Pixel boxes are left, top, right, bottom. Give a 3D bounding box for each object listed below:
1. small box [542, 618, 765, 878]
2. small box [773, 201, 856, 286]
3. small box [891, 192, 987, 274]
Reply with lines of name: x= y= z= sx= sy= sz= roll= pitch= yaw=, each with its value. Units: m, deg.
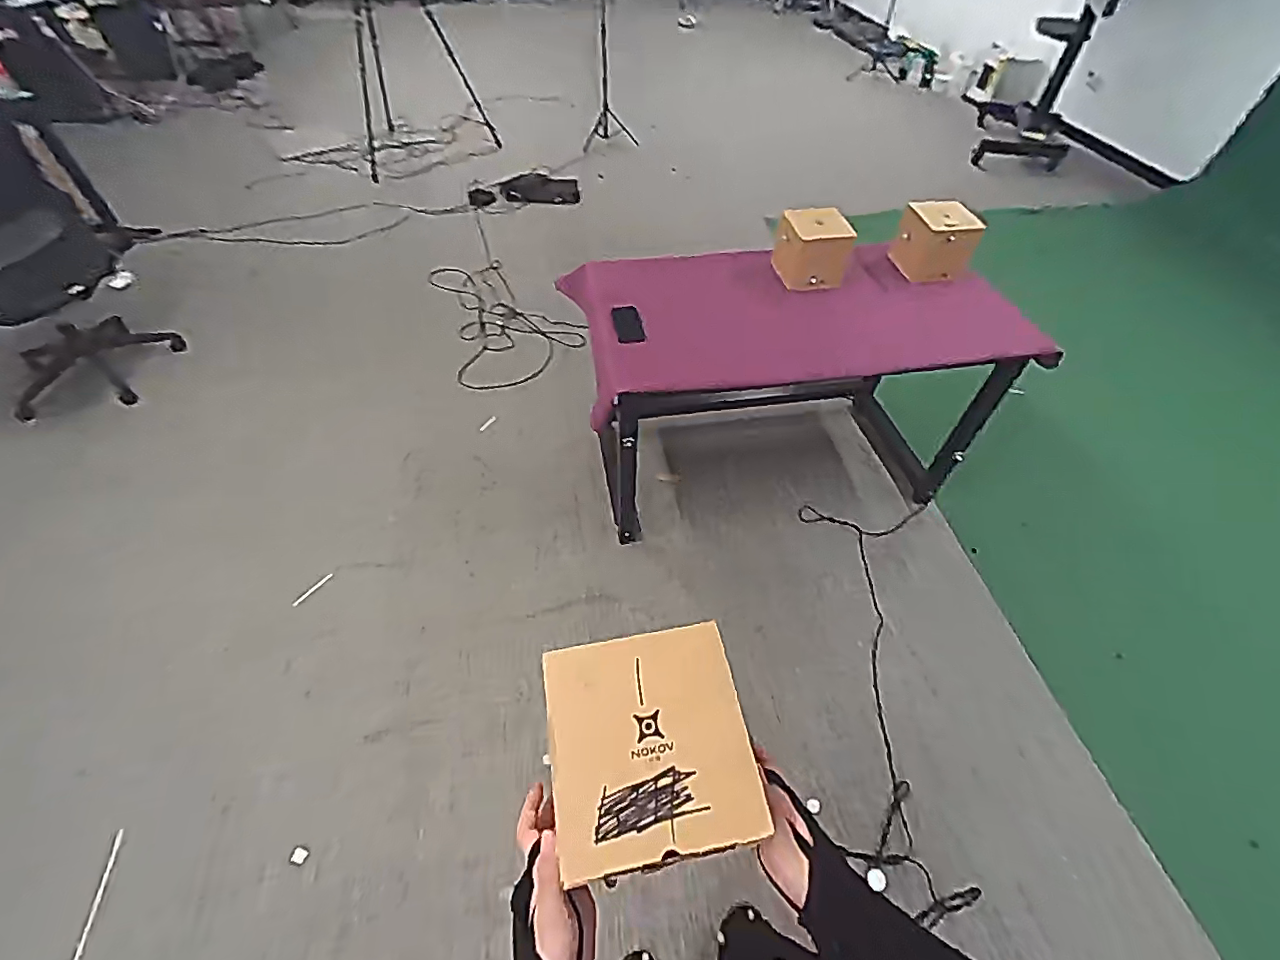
small box: x=0.005 y=0.253 z=0.519 sx=0.168 sy=0.176 sz=0.179 roll=-9 pitch=58 yaw=-6
small box: x=0.508 y=-0.701 z=1.604 sx=0.168 sy=0.176 sz=0.179 roll=-7 pitch=52 yaw=-5
small box: x=0.894 y=-0.748 z=1.641 sx=0.168 sy=0.176 sz=0.179 roll=-7 pitch=51 yaw=-4
